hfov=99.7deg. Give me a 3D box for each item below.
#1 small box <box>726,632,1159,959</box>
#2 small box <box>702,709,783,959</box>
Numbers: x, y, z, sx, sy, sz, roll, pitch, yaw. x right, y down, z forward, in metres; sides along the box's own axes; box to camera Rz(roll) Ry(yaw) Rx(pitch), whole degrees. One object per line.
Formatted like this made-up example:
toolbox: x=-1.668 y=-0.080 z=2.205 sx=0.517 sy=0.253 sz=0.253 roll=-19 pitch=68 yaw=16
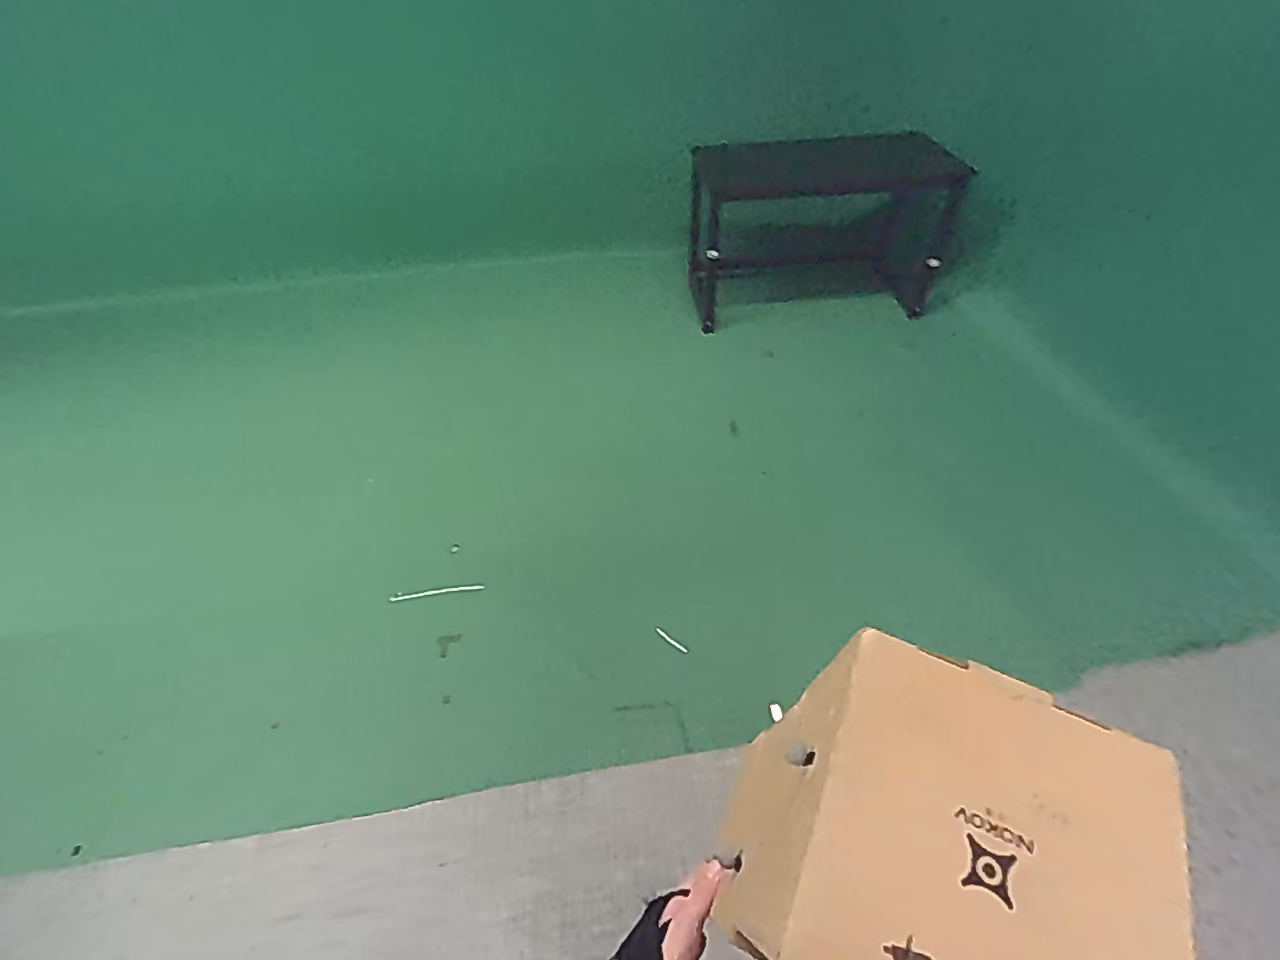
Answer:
small box: x=0.160 y=0.229 z=0.330 sx=0.168 sy=0.176 sz=0.179 roll=20 pitch=57 yaw=15
small box: x=0.159 y=0.331 z=0.460 sx=0.168 sy=0.176 sz=0.179 roll=21 pitch=58 yaw=15
